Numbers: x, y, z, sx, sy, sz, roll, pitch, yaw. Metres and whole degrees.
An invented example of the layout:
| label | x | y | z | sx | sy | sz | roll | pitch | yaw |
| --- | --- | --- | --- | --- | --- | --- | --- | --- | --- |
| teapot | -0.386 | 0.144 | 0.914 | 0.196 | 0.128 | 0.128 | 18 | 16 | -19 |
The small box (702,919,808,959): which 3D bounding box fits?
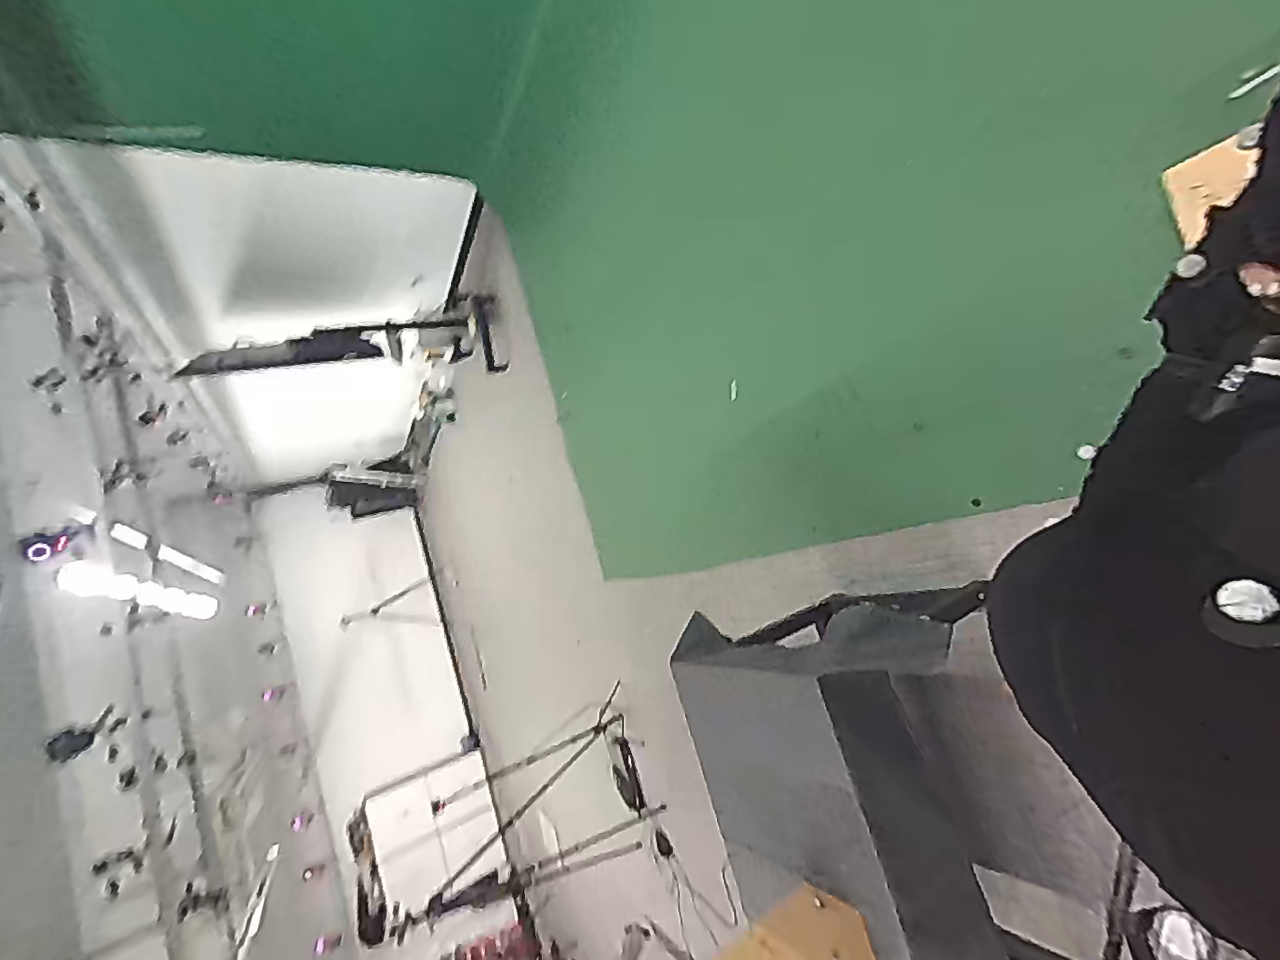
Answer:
| label | x | y | z | sx | sy | sz | roll | pitch | yaw |
| --- | --- | --- | --- | --- | --- | --- | --- | --- | --- |
| small box | 0.256 | 1.050 | 1.093 | 0.168 | 0.176 | 0.179 | -30 | 75 | 59 |
